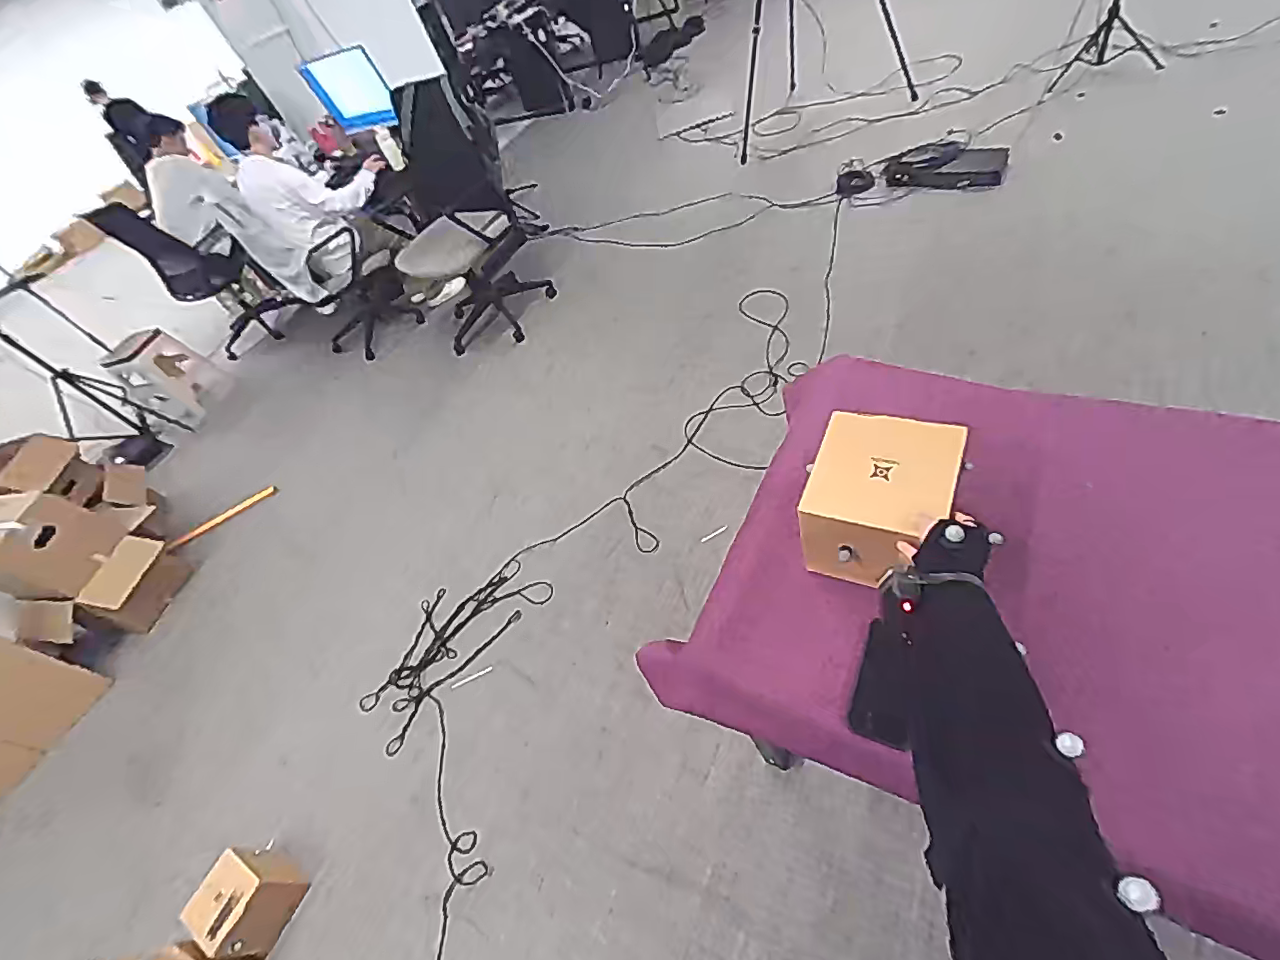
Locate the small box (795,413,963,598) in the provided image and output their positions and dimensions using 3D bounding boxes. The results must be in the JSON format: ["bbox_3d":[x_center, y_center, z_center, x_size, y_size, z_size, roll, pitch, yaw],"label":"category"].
[{"bbox_3d":[0.323,0.035,0.733,0.168,0.176,0.179,11,57,29],"label":"small box"}]
